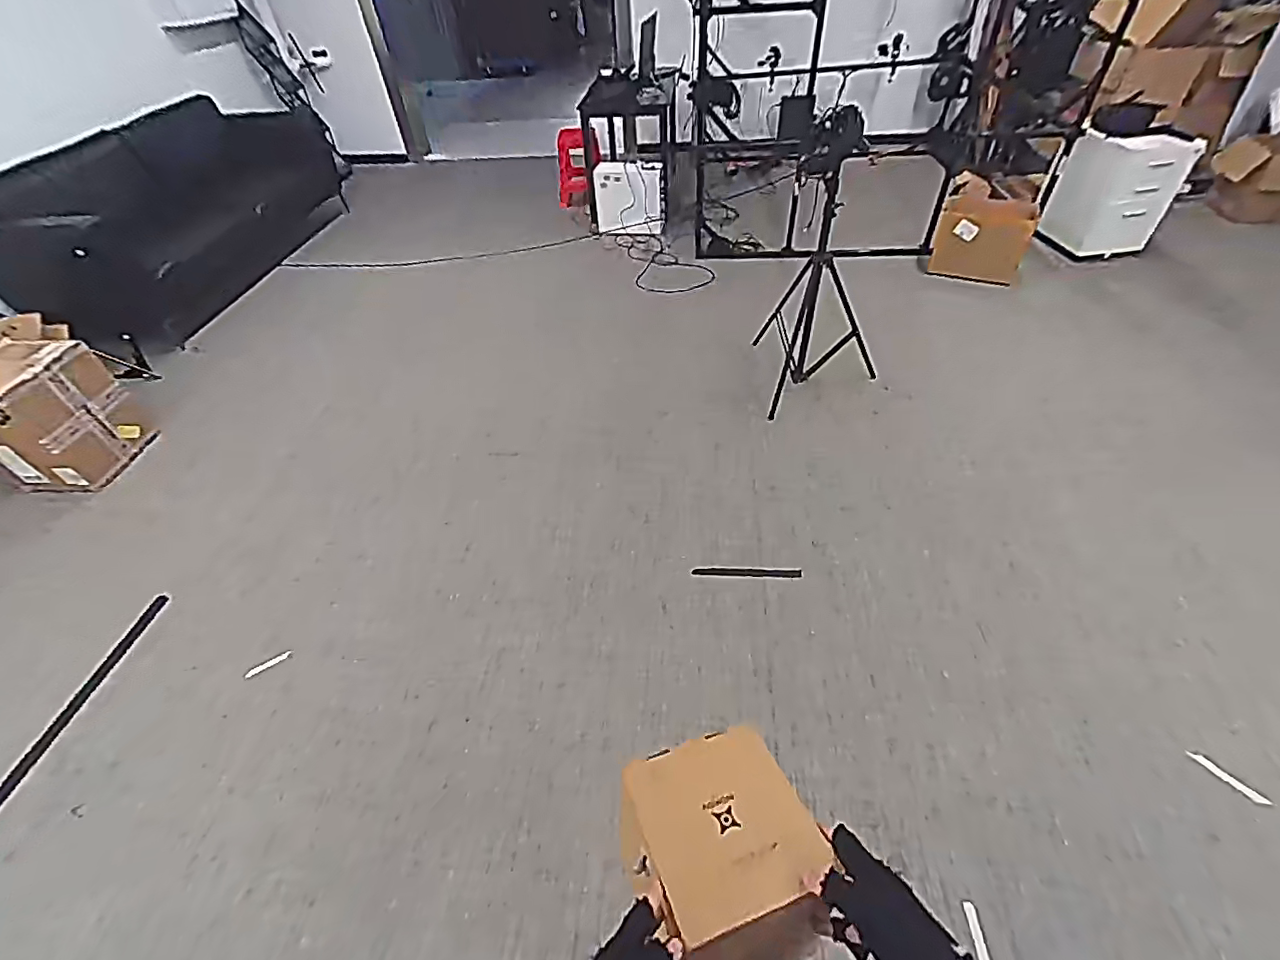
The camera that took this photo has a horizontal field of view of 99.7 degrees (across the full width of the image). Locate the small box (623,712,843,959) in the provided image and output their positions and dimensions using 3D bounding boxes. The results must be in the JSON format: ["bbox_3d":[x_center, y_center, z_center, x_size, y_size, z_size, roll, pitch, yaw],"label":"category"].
[{"bbox_3d":[0.083,0.395,0.583,0.168,0.176,0.179,-10,31,-18],"label":"small box"}]
